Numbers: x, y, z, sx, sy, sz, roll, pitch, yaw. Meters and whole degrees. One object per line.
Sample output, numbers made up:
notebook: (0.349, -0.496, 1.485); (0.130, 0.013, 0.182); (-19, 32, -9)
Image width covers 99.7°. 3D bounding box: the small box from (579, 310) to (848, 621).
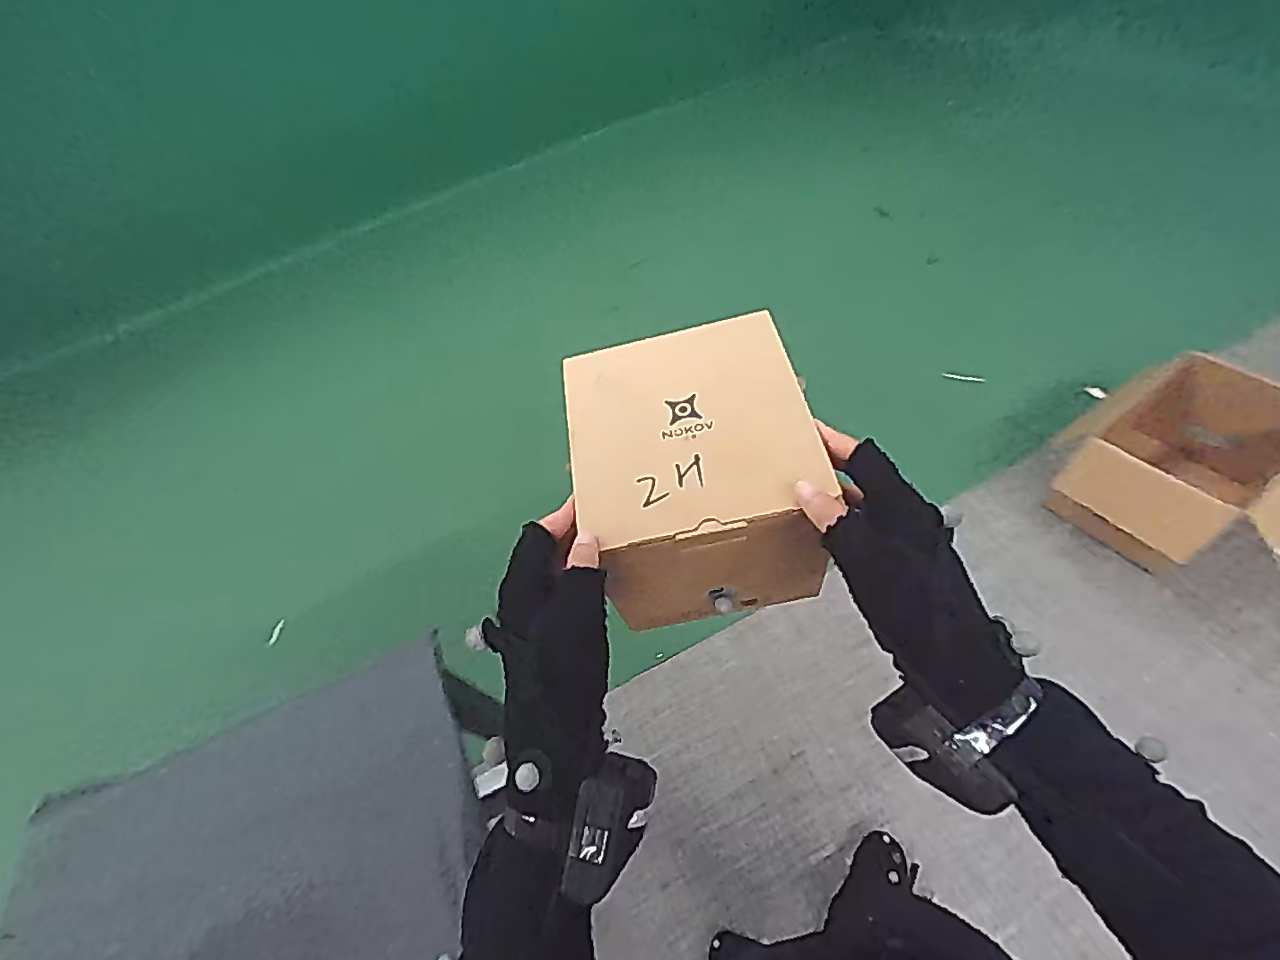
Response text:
small box: (0.052, -0.004, 0.444); (0.168, 0.176, 0.179); (-11, 57, 6)
